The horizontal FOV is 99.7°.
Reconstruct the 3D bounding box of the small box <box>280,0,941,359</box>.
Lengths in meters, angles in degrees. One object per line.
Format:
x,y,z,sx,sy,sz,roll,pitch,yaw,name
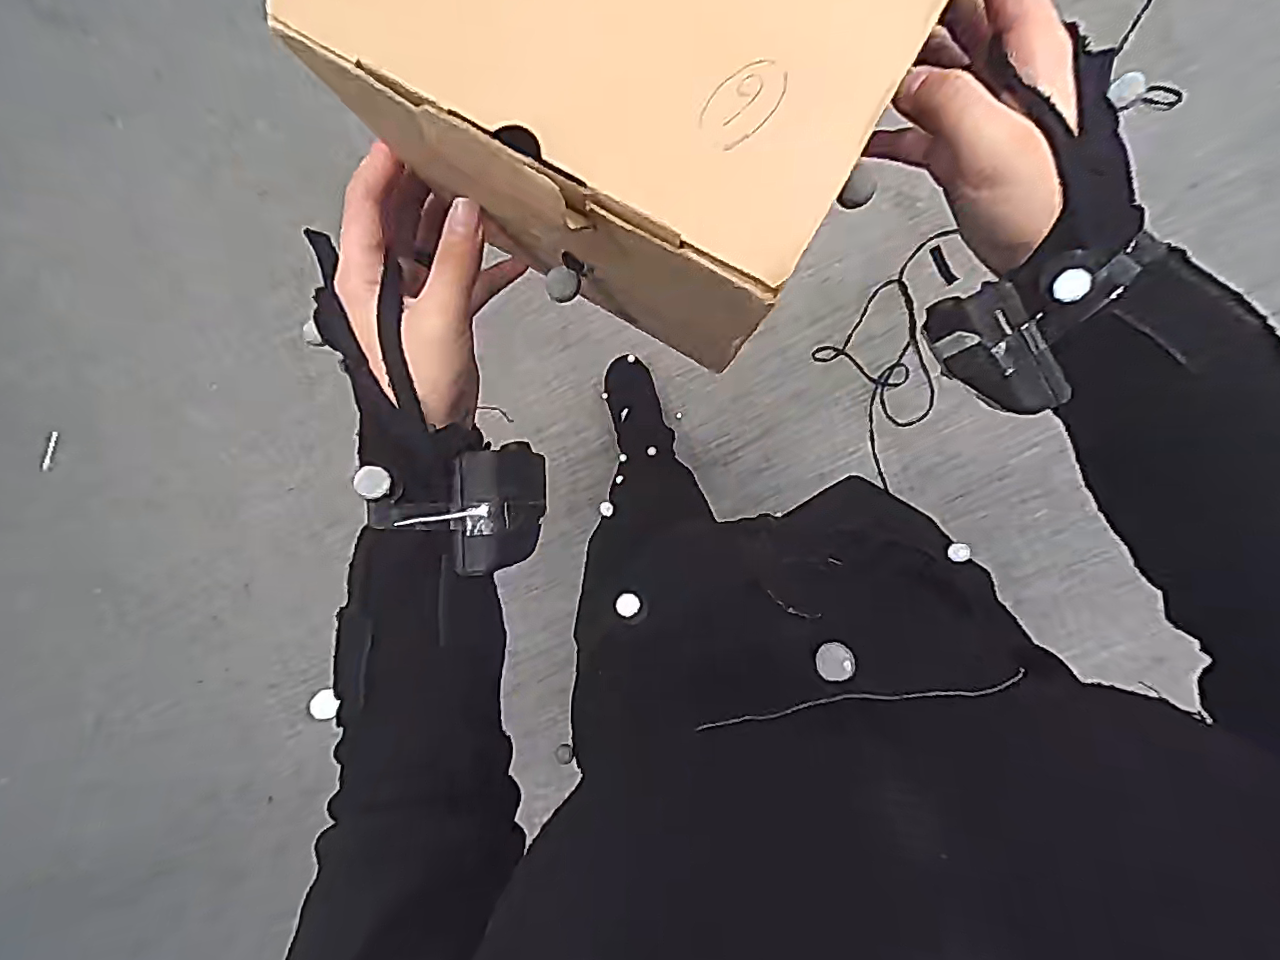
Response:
0.012,-0.168,0.225,0.168,0.176,0.179,30,97,1,small box
